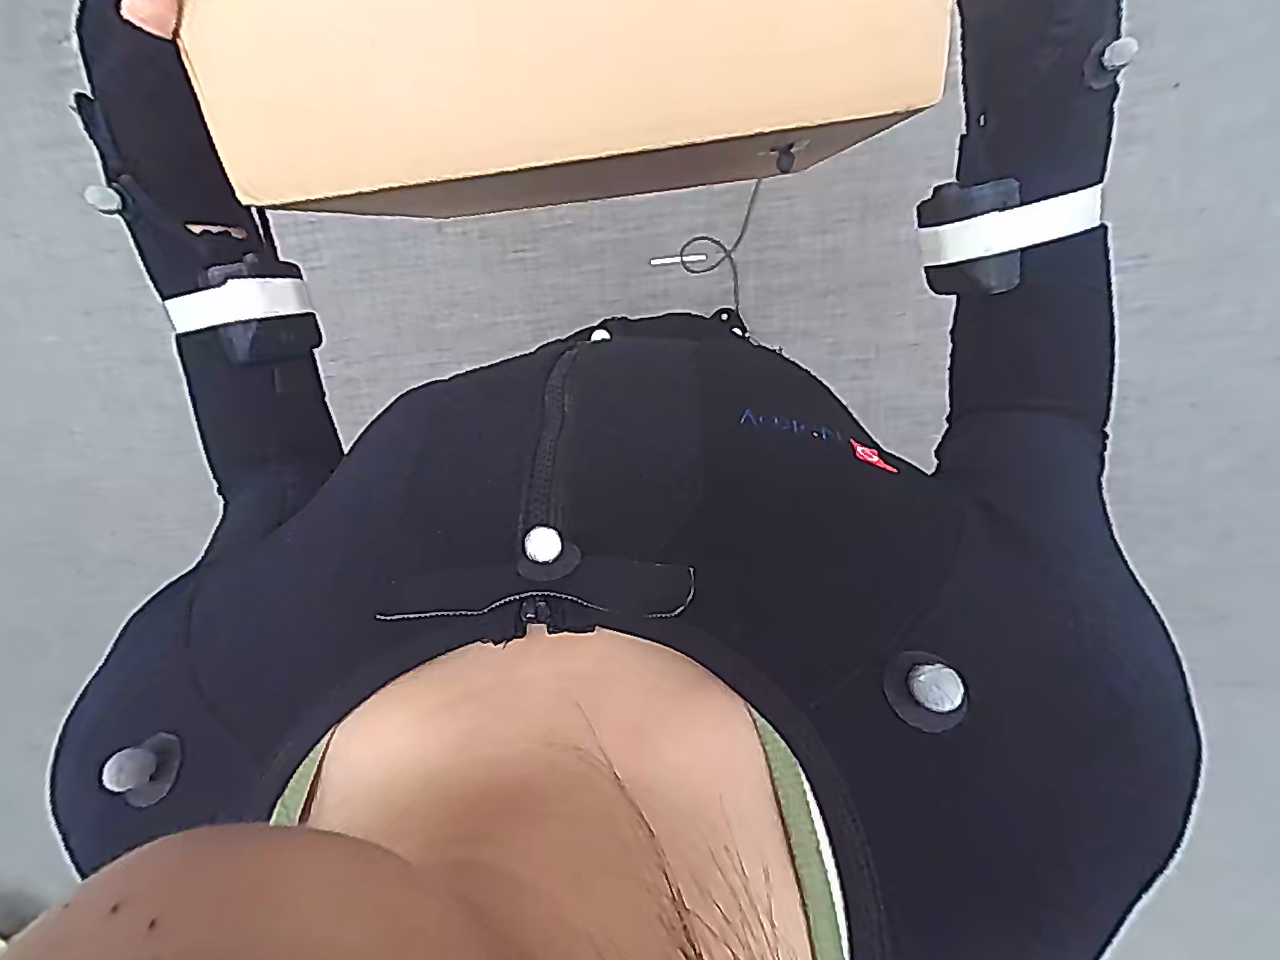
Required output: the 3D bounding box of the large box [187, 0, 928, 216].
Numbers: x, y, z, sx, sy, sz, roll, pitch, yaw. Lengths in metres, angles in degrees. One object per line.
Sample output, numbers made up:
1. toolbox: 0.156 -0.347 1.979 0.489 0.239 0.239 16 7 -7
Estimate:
1. large box: -0.049 -0.389 0.395 0.408 0.320 0.320 -5 114 6
